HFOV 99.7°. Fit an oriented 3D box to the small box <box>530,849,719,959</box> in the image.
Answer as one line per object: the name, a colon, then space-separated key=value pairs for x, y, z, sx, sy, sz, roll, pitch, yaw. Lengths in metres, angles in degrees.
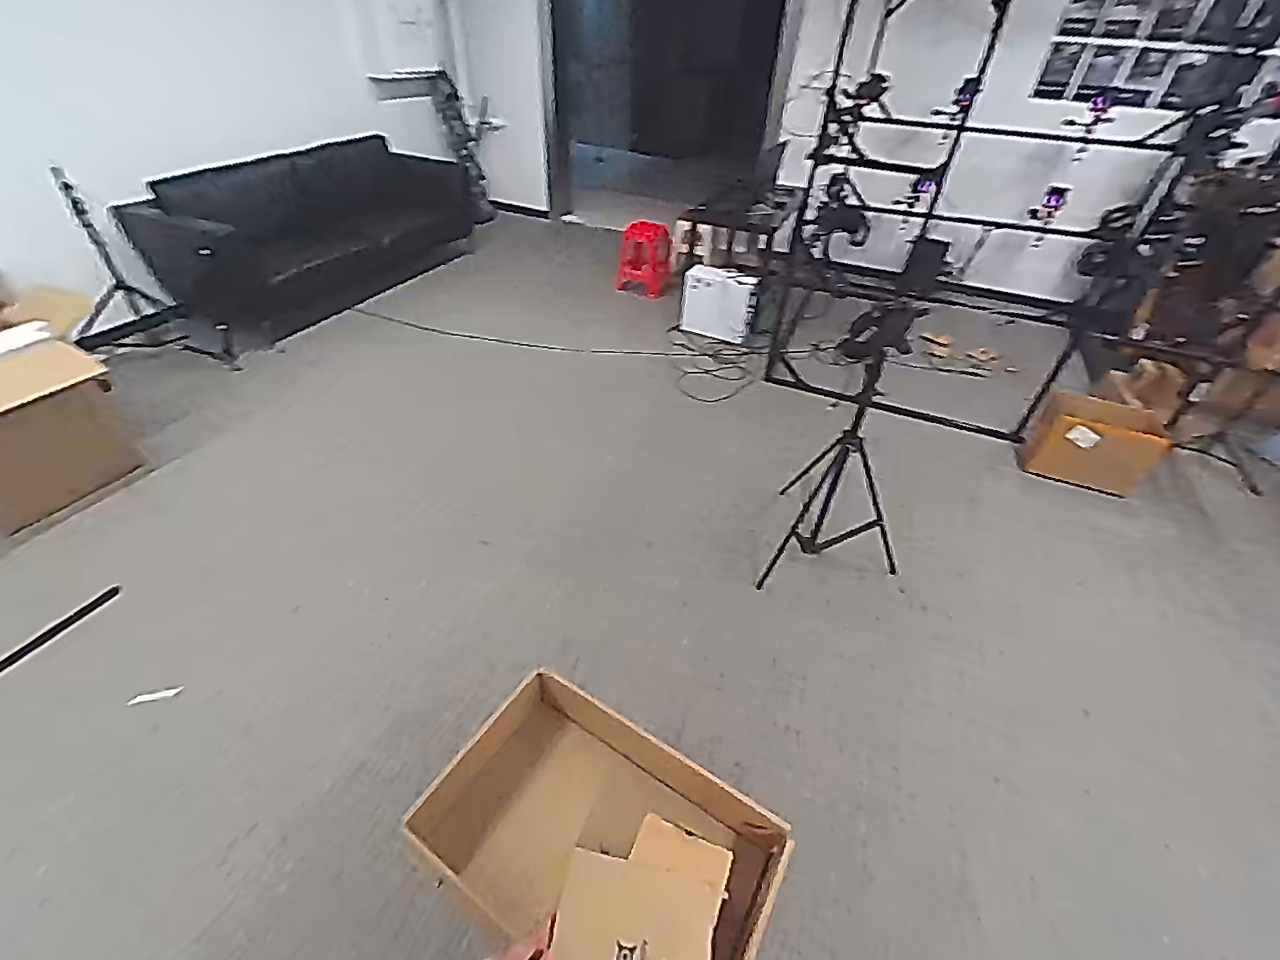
small box: x=-0.028 y=0.540 z=0.610 sx=0.179 sy=0.176 sz=0.168 roll=18 pitch=51 yaw=-5
